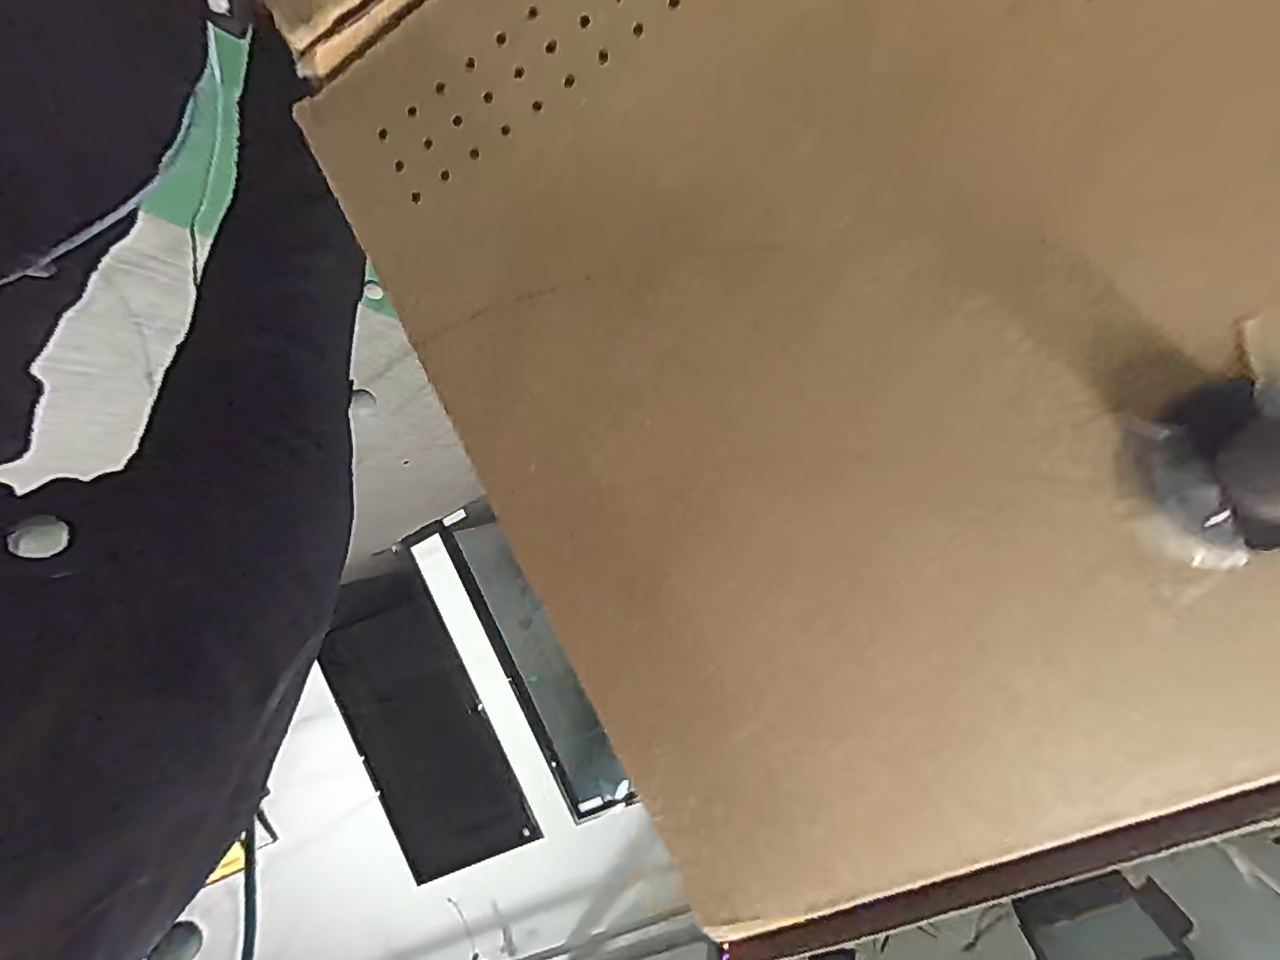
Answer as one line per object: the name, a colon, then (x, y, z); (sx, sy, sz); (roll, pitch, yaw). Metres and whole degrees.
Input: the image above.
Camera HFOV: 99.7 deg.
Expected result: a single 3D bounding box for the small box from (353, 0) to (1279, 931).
small box: (0.063, -0.038, 0.157); (0.179, 0.176, 0.168); (-28, 177, 12)
